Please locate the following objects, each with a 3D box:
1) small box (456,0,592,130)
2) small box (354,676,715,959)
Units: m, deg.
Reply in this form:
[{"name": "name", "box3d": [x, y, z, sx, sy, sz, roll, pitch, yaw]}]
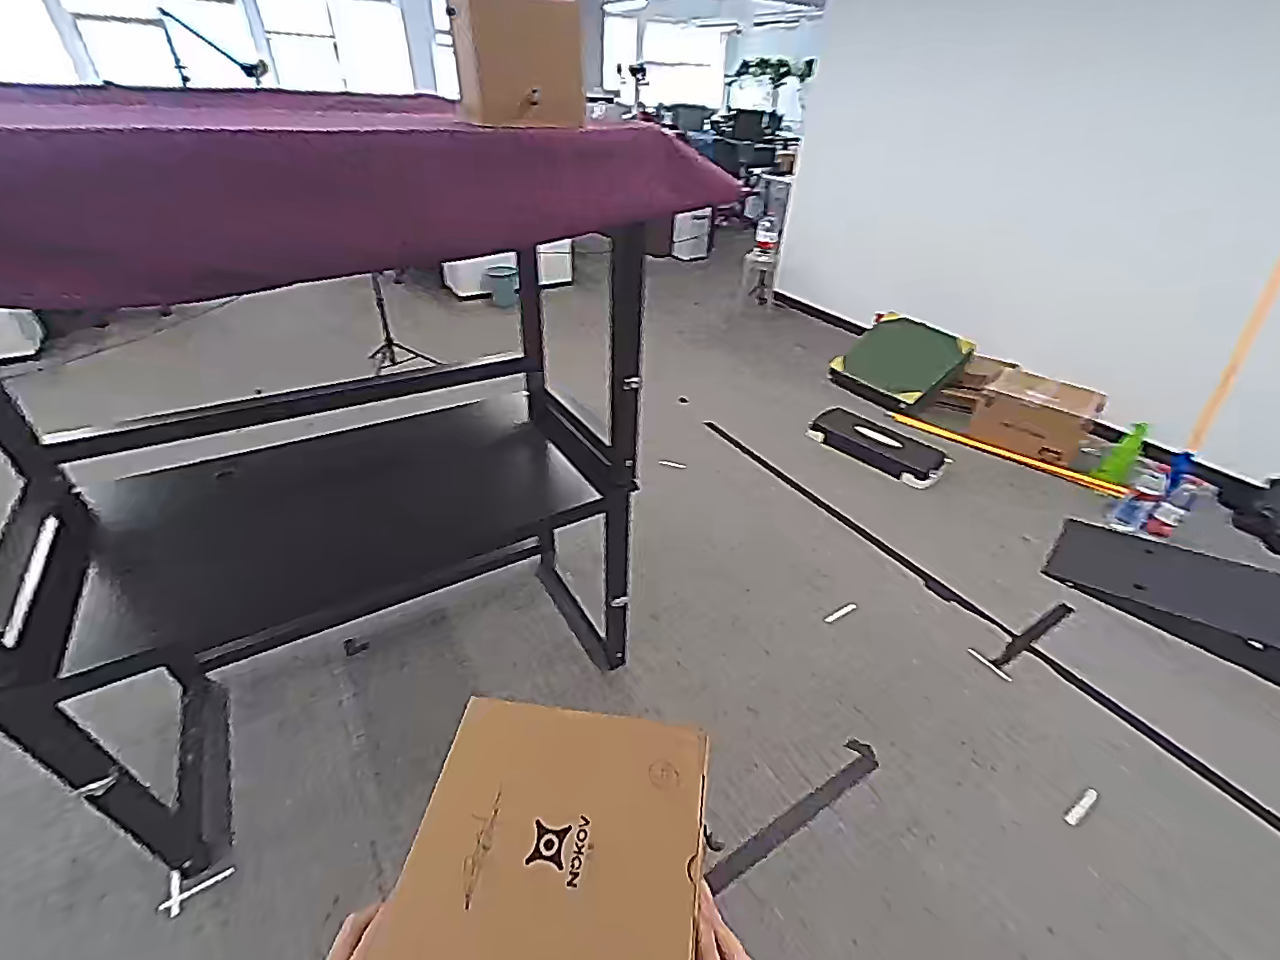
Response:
[{"name": "small box", "box3d": [-0.187, -0.676, 0.879, 0.179, 0.176, 0.168, -15, 38, -22]}, {"name": "small box", "box3d": [-0.044, 0.261, 0.371, 0.179, 0.176, 0.168, 3, 42, 10]}]
